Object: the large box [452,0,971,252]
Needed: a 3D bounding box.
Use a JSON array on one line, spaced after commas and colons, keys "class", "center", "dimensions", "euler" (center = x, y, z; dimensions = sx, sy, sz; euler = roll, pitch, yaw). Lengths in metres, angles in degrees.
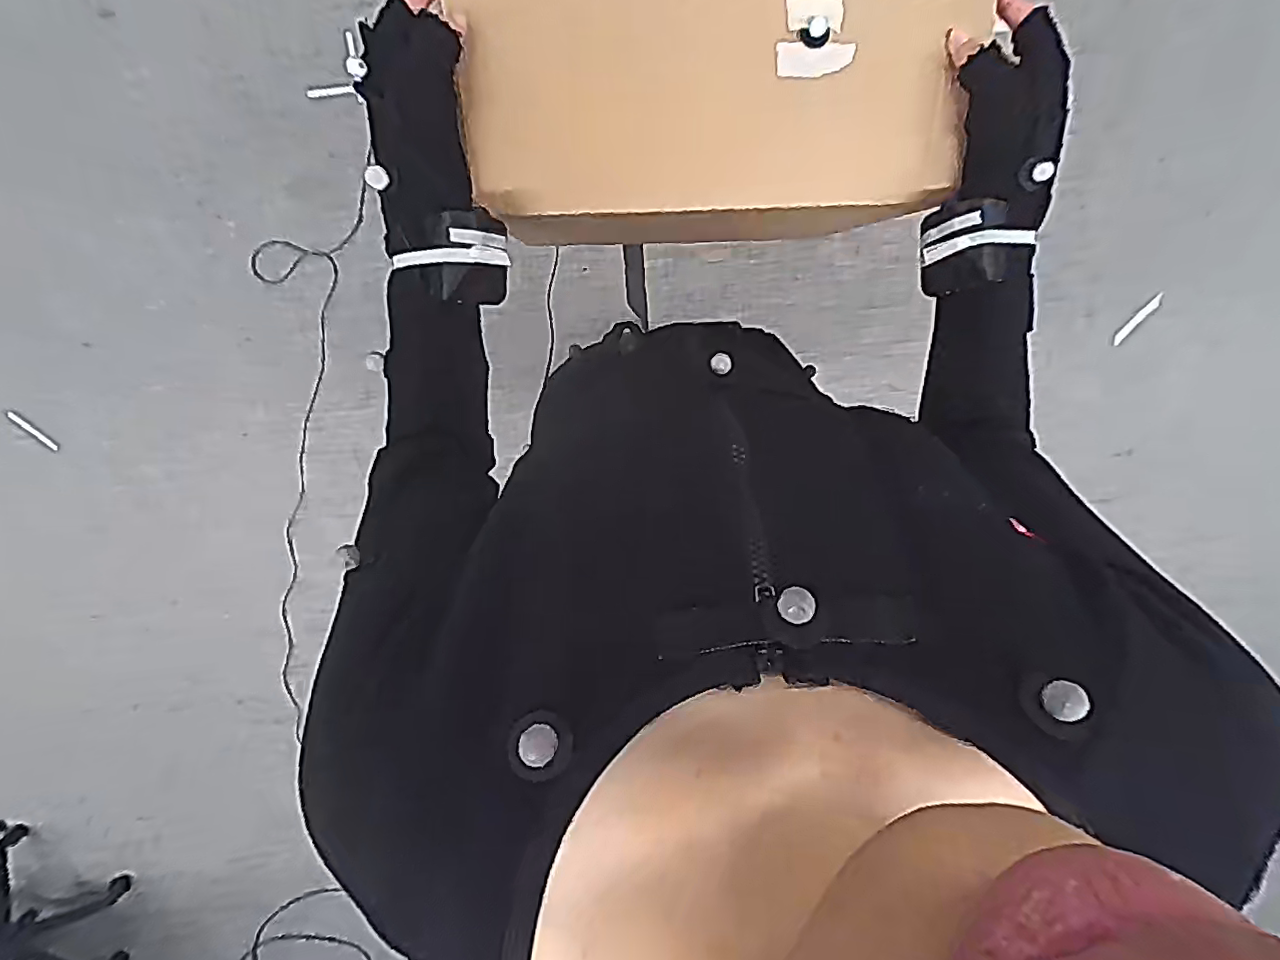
[{"class": "large box", "center": [0.047, -0.420, 0.544], "dimensions": [0.408, 0.320, 0.320], "euler": [-3, 109, -3]}]
